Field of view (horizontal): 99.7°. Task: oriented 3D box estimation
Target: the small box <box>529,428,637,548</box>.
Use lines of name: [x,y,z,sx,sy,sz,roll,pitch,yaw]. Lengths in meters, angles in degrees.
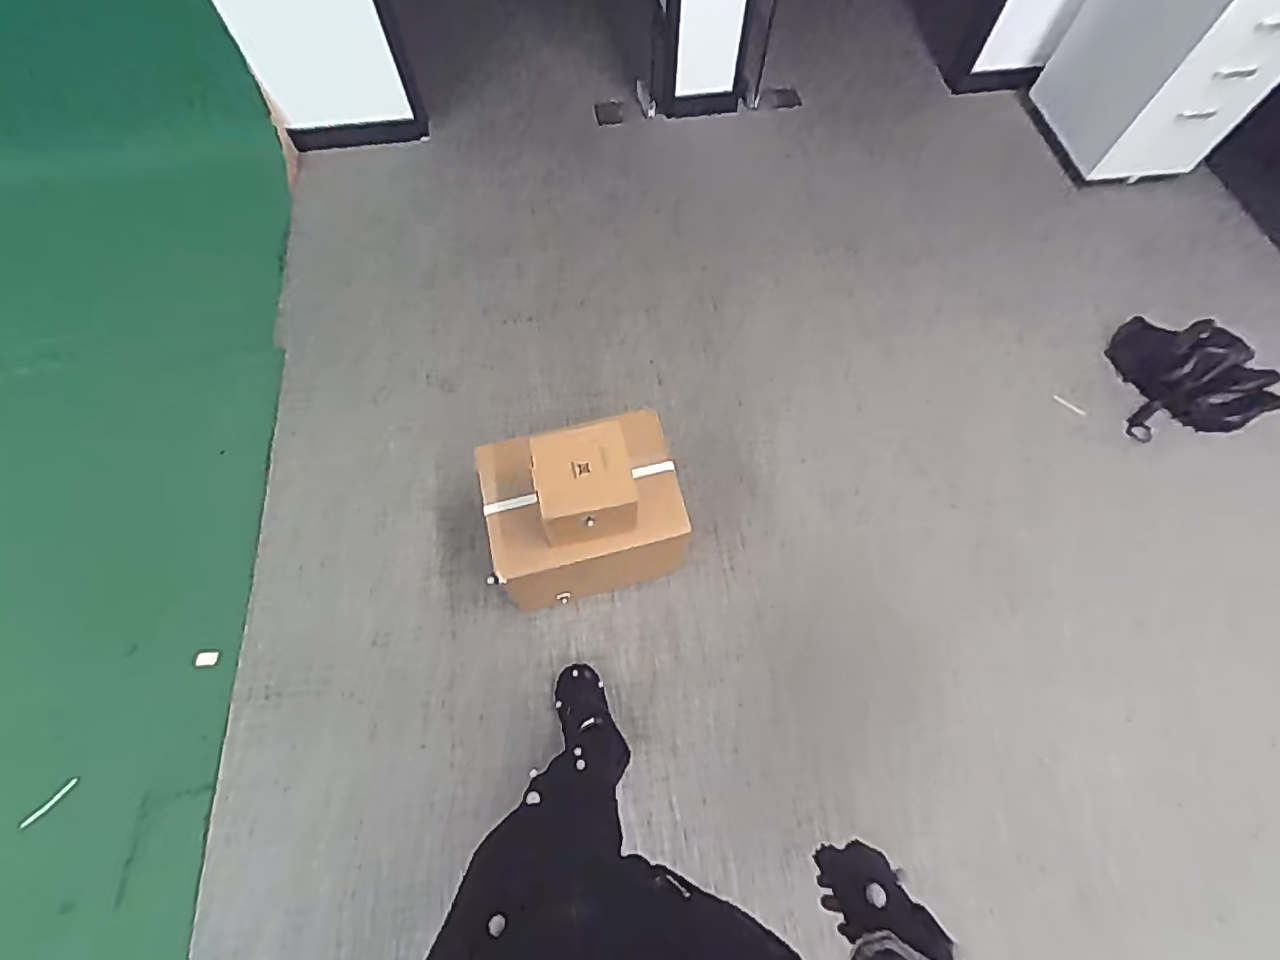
small box: [-0.108,0.022,1.057,0.179,0.176,0.168,-11,67,-7]
